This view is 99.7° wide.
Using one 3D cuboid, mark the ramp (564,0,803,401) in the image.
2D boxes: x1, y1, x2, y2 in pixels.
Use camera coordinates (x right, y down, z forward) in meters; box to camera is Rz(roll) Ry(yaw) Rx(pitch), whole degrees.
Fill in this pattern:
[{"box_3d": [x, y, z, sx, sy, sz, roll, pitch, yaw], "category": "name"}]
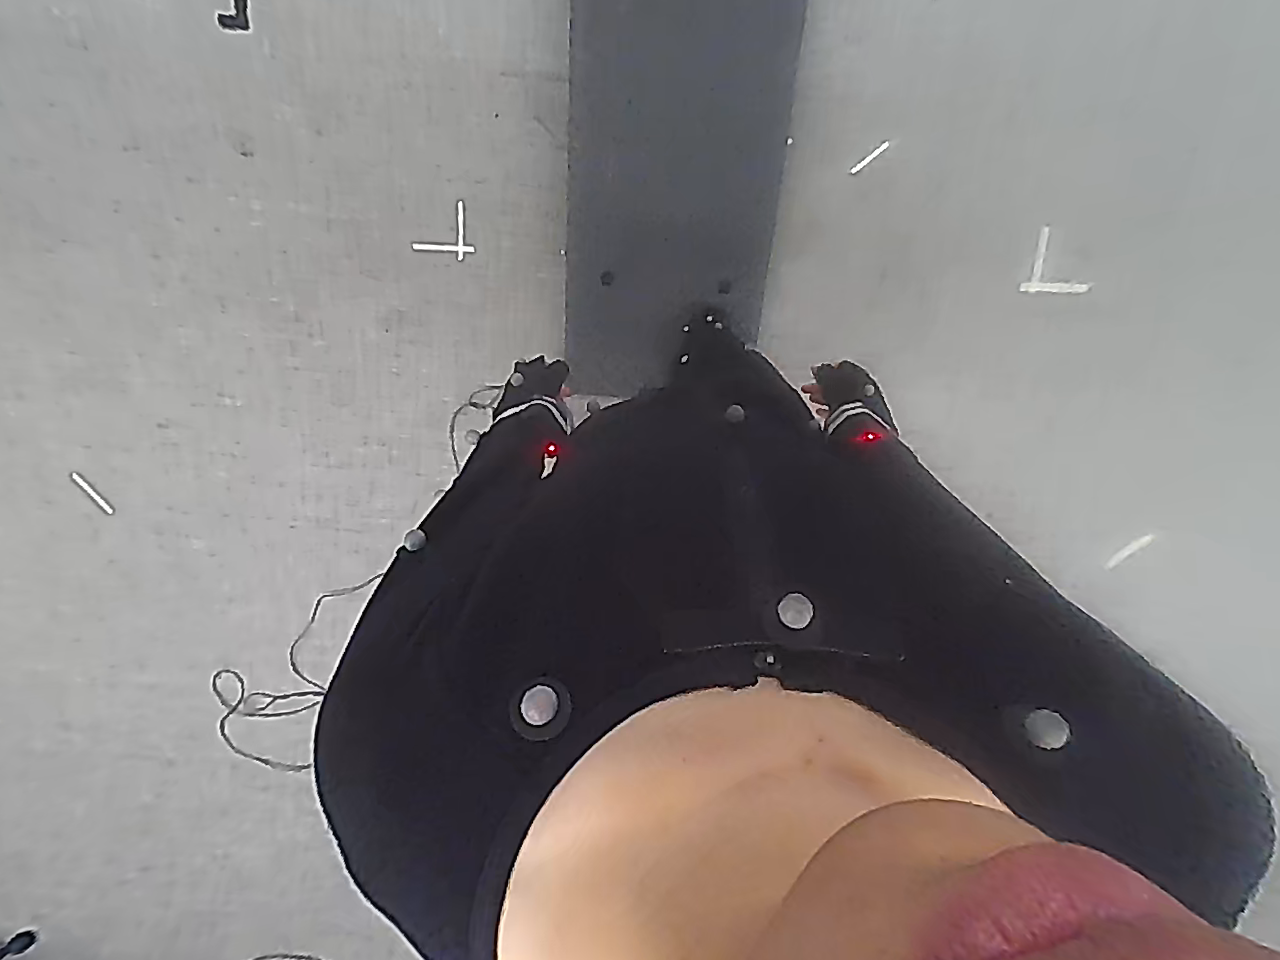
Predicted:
[{"box_3d": [0.073, -0.680, 1.245, 0.509, 0.206, 0.991, 1, 103, -2], "category": "ramp"}]
